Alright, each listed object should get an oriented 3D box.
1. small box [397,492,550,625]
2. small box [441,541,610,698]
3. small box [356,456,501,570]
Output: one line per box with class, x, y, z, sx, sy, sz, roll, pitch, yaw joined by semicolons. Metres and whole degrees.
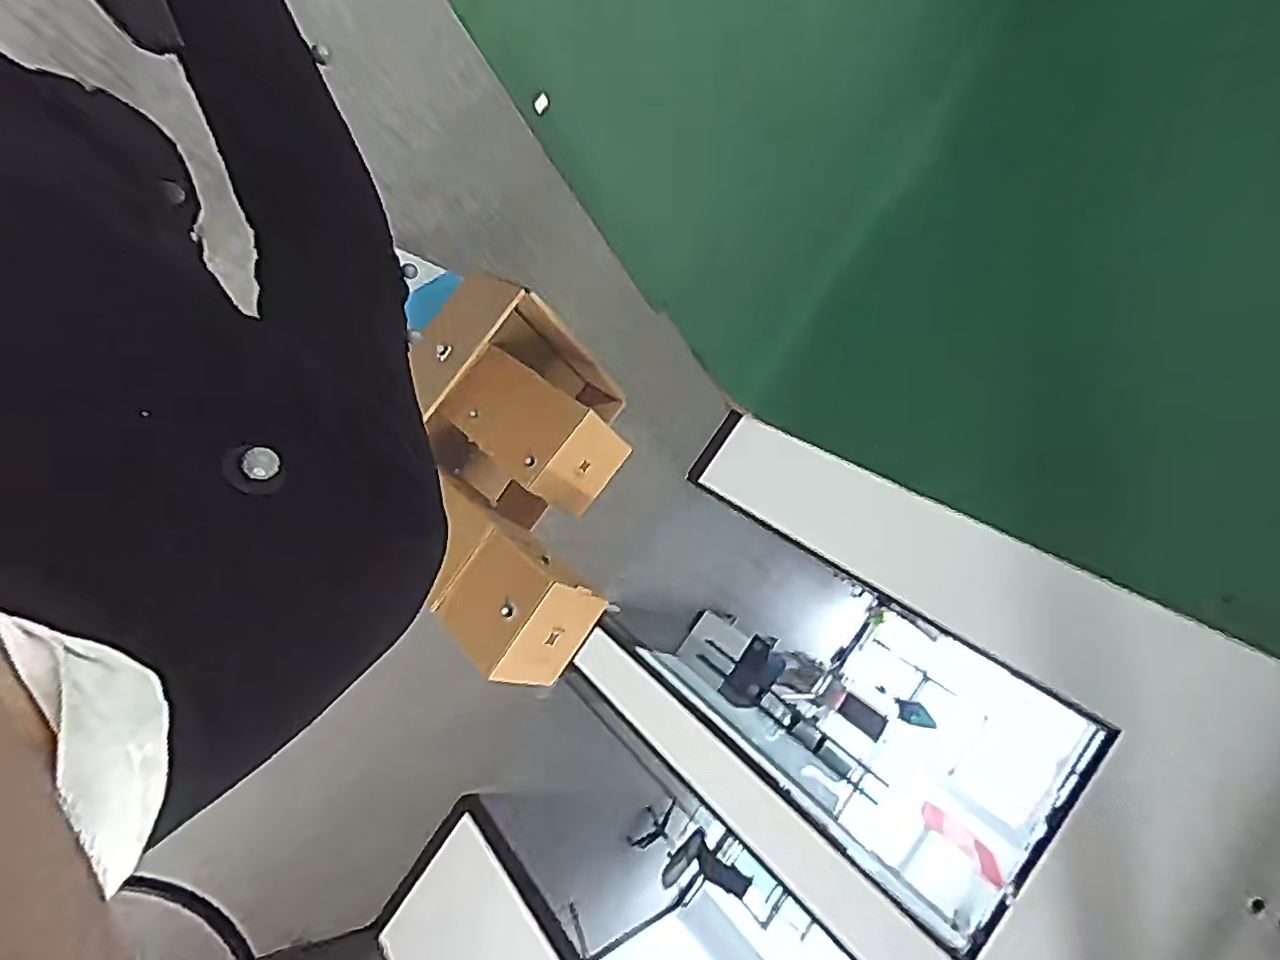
small box;-0.304;0.151;0.972;0.179;0.176;0.168;-56;146;-5
small box;-0.187;0.226;0.885;0.179;0.176;0.168;-55;145;-5
small box;-0.418;0.079;1.064;0.179;0.176;0.168;-55;145;-6
